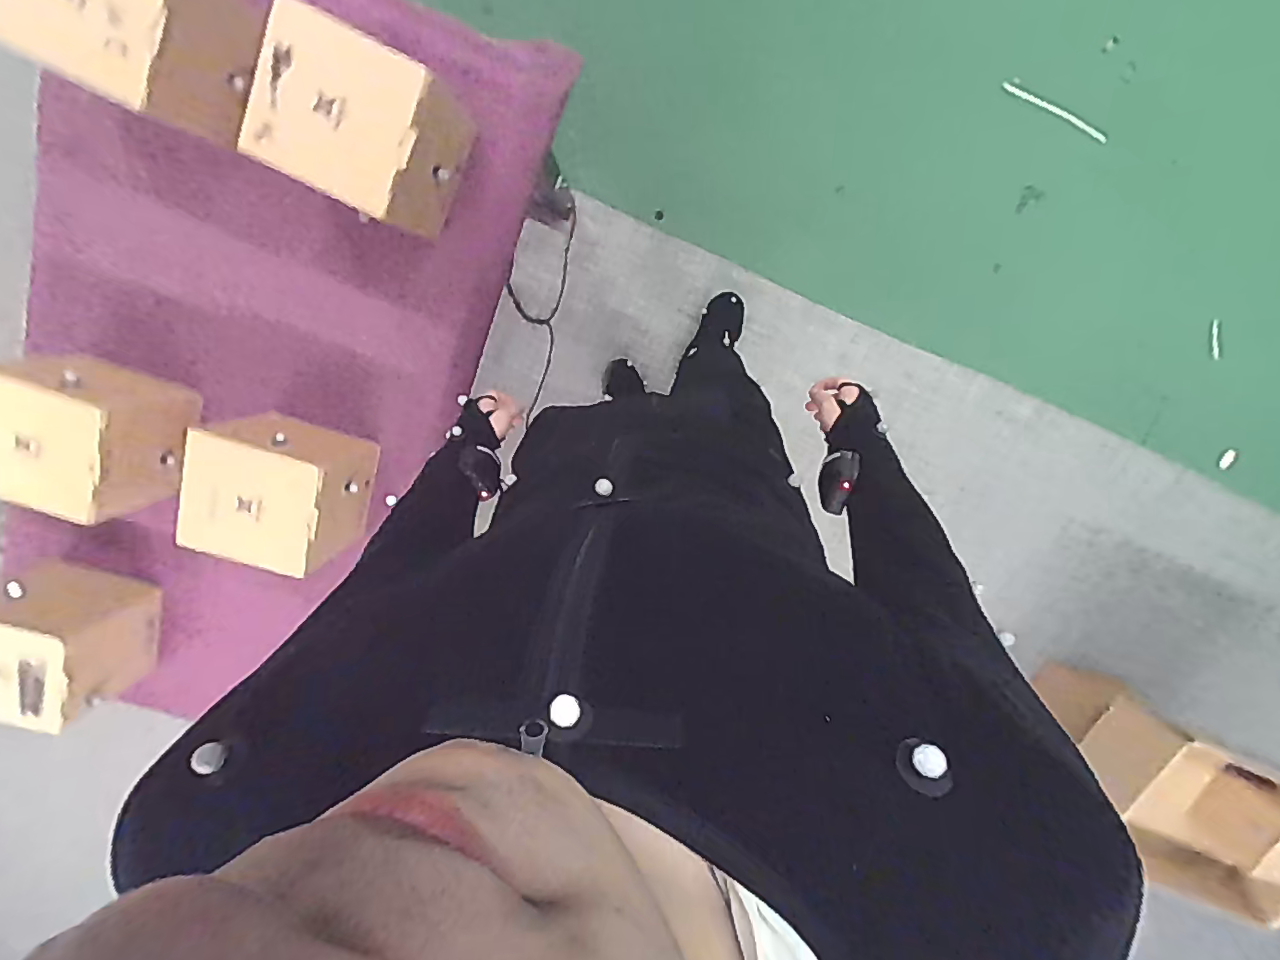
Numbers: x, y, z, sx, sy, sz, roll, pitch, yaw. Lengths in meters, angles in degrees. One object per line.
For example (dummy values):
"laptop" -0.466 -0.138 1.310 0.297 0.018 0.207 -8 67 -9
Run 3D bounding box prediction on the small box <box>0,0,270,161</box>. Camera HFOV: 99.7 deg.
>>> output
"small box" -0.591 -0.519 0.649 0.179 0.176 0.168 25 105 -7

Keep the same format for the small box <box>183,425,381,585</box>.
"small box" -0.513 0.026 0.798 0.179 0.176 0.168 17 104 -3

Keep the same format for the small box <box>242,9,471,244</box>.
"small box" -0.336 -0.415 0.676 0.179 0.176 0.168 25 104 -6

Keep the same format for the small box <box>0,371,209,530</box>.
"small box" -0.781 -0.052 0.777 0.179 0.176 0.168 19 104 -6
